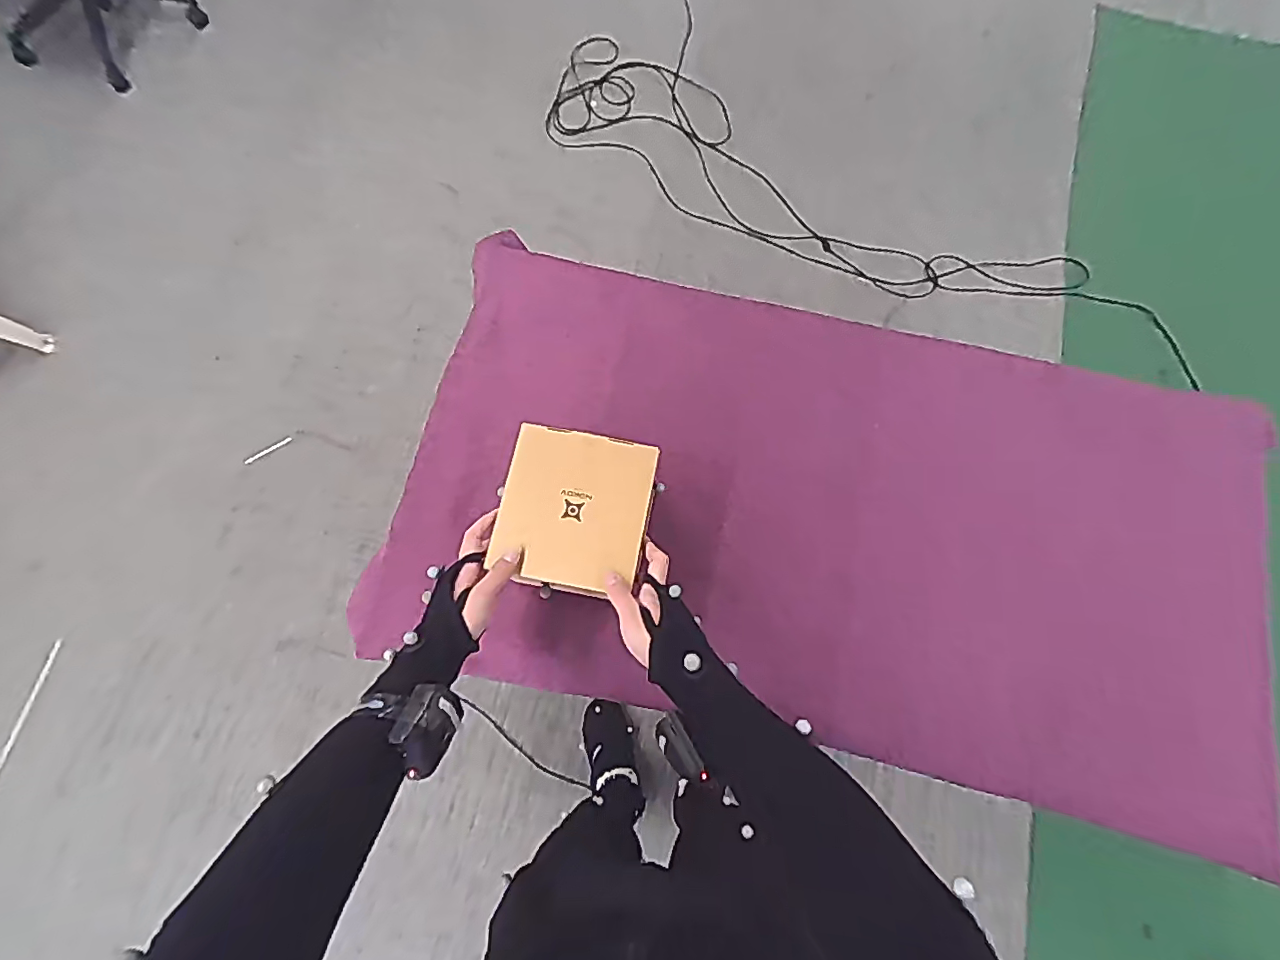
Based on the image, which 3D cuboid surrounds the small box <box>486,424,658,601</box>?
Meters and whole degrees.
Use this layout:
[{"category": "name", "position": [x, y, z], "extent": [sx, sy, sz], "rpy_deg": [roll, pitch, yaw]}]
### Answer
[{"category": "small box", "position": [-0.073, 0.052, 0.682], "extent": [0.168, 0.176, 0.179], "rpy_deg": [10, 75, 3]}]
